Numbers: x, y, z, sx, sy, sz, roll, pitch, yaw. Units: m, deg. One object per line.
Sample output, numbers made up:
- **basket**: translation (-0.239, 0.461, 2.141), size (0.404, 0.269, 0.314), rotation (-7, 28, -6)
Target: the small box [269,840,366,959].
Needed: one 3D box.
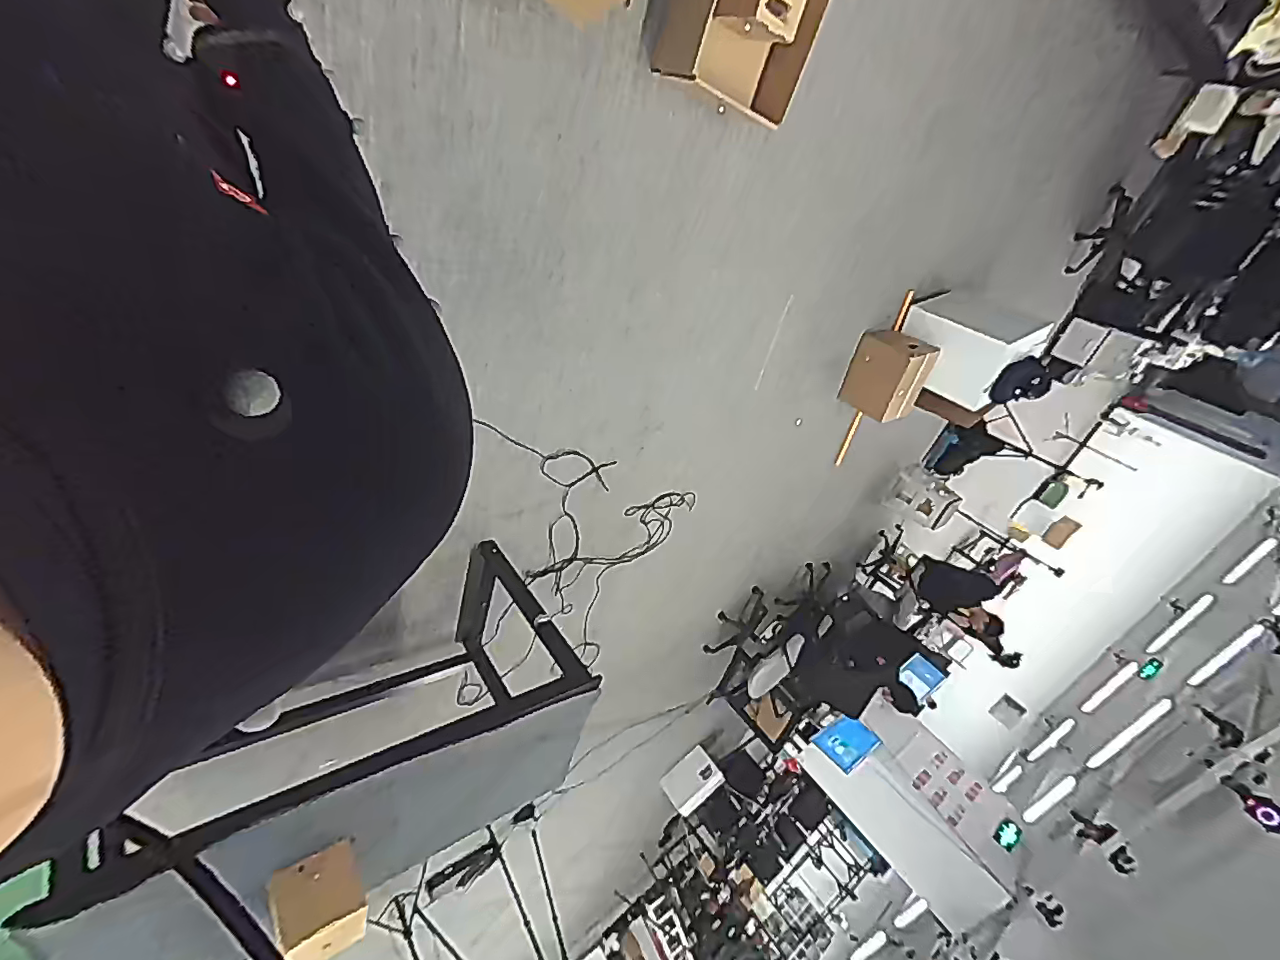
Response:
- **small box**: translation (-0.758, 0.996, 1.268), size (0.168, 0.176, 0.179), rotation (-8, 129, -41)
